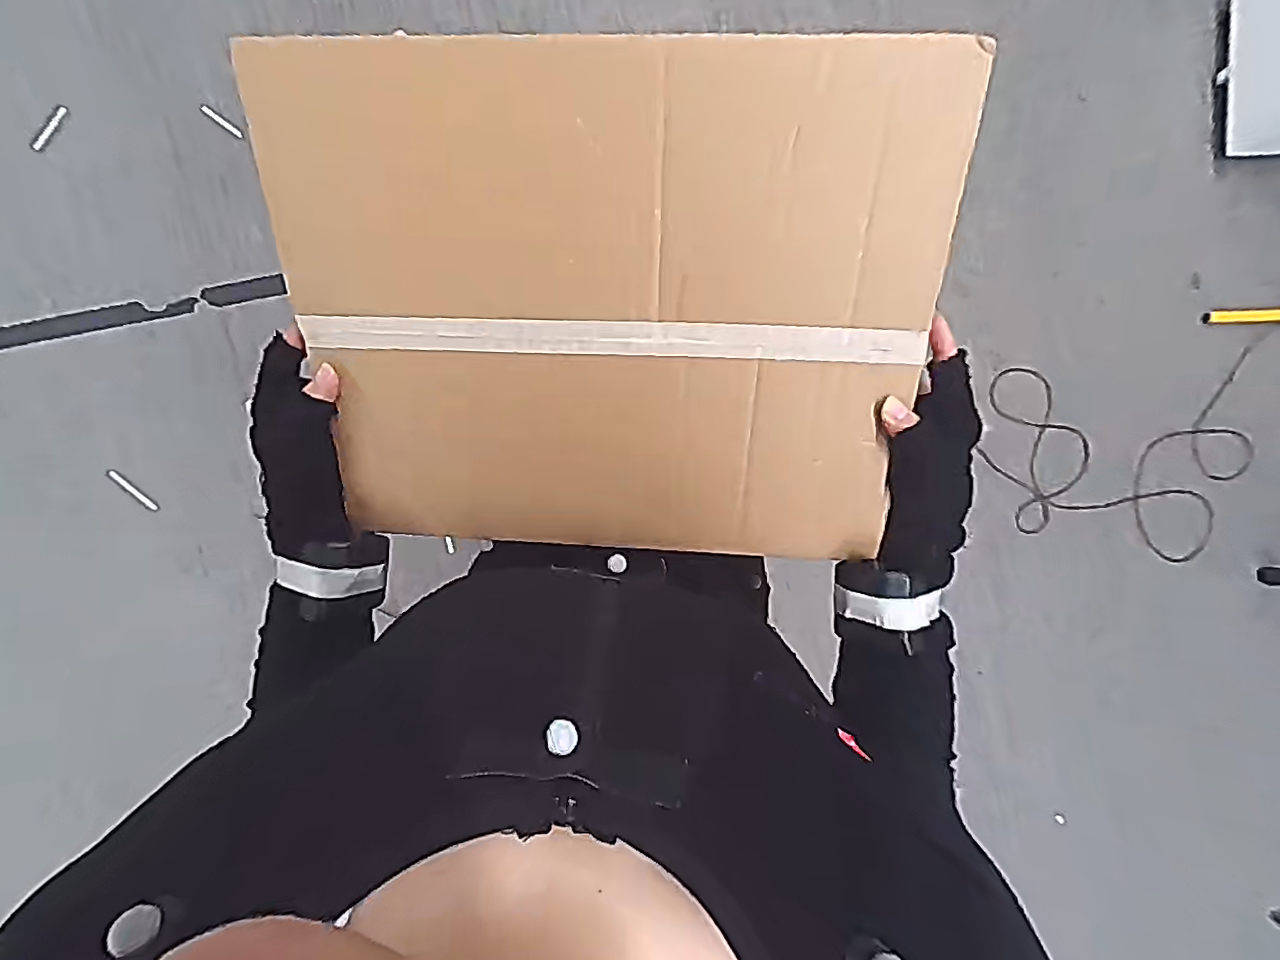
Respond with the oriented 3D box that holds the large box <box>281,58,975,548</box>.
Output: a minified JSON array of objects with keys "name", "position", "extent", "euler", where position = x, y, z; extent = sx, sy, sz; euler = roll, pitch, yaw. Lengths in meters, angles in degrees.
[{"name":"large box","position":[-0.007,-0.154,0.499],"extent":[0.408,0.320,0.320],"euler":[3,116,4]}]
